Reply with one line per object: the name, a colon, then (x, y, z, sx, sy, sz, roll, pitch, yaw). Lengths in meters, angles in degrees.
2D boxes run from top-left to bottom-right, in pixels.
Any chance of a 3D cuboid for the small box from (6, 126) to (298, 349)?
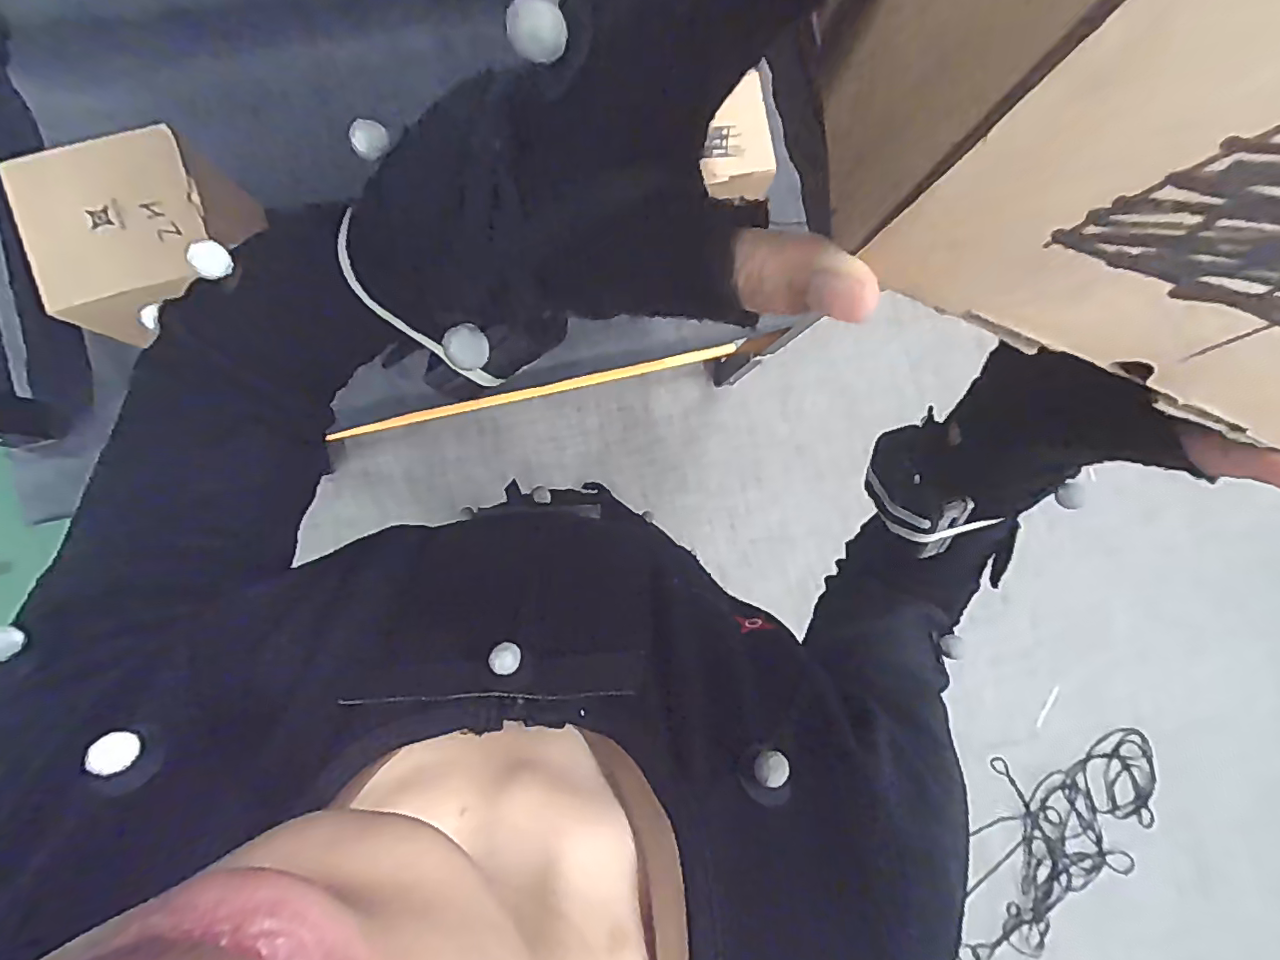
small box: (-0.561, -0.274, 0.649, 0.179, 0.176, 0.168, -18, 90, -7)
